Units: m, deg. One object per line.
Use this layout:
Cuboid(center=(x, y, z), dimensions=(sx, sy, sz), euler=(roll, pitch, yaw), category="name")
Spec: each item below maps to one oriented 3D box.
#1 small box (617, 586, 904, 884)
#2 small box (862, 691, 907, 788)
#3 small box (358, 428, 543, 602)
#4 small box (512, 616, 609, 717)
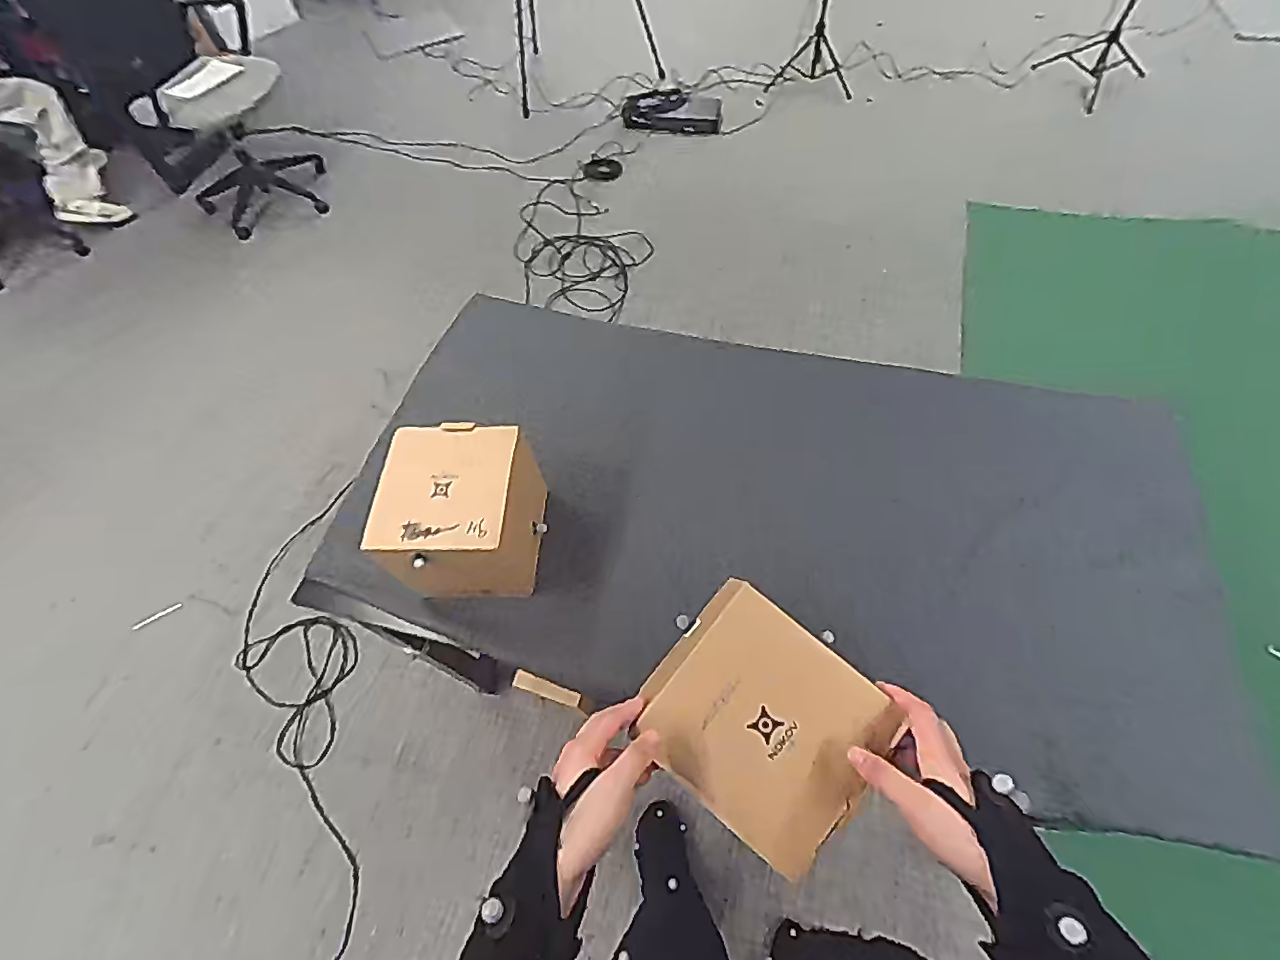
Cuboid(center=(0.103, 0.214, 0.518), dimensions=(0.179, 0.176, 0.168), euler=(39, 85, 10), category="small box")
Cuboid(center=(0.474, 0.570, 1.198), dimensions=(0.168, 0.176, 0.179), euler=(7, 59, 8), category="small box")
Cuboid(center=(-0.234, 0.049, 0.723), dimensions=(0.168, 0.176, 0.179), euler=(0, 59, 5), category="small box")
Cuboid(center=(-0.185, 0.462, 1.325), dimensions=(0.168, 0.176, 0.179), euler=(14, 60, 14), category="small box")
